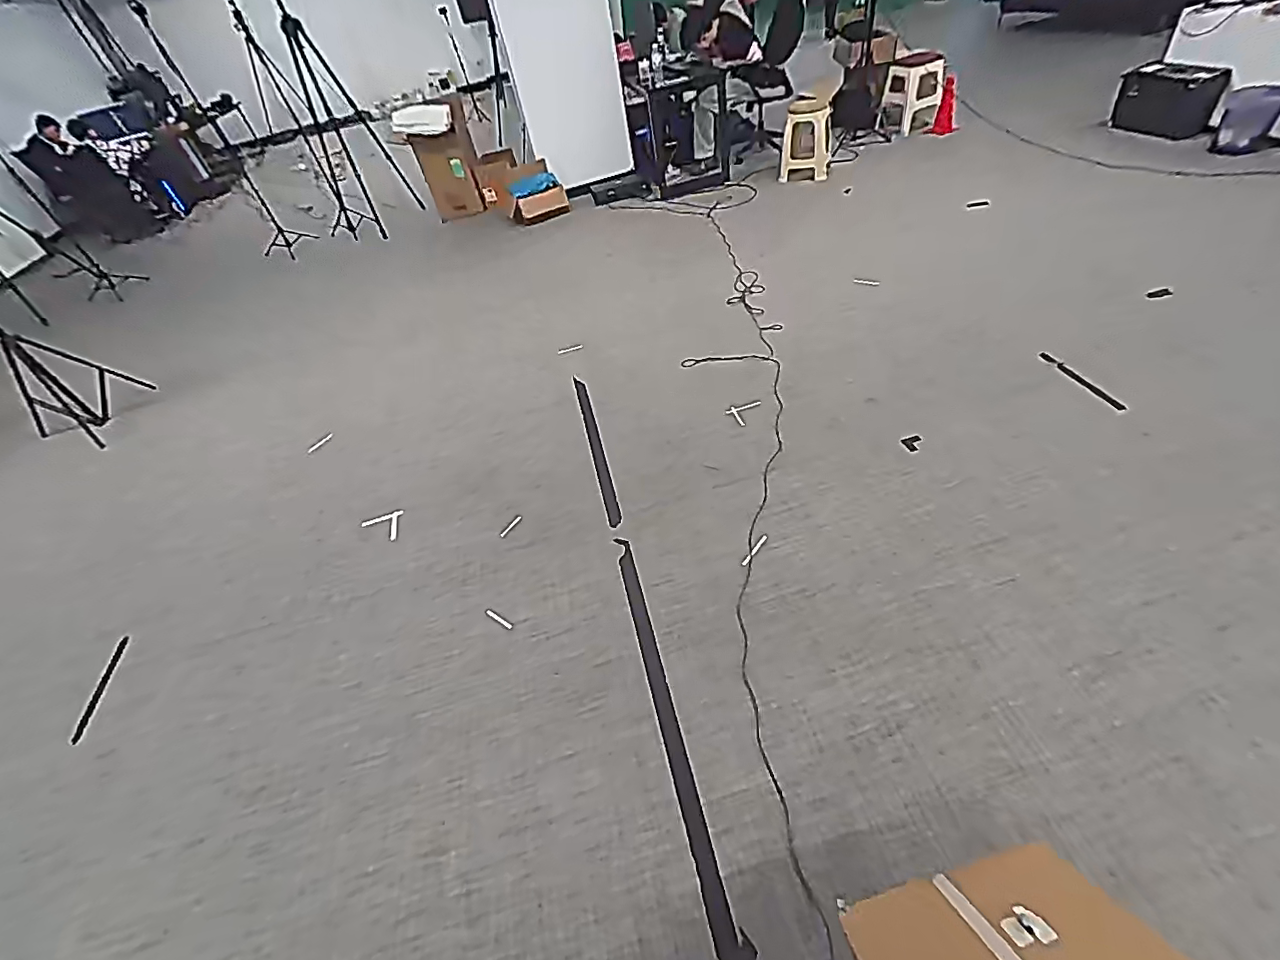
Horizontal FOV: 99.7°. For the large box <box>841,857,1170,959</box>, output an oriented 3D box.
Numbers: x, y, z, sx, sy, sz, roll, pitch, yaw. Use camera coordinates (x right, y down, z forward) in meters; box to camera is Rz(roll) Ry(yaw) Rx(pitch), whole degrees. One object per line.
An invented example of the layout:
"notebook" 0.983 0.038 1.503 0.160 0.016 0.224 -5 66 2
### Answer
"large box" 0.480 0.711 0.574 0.320 0.408 0.320 -17 81 -2
